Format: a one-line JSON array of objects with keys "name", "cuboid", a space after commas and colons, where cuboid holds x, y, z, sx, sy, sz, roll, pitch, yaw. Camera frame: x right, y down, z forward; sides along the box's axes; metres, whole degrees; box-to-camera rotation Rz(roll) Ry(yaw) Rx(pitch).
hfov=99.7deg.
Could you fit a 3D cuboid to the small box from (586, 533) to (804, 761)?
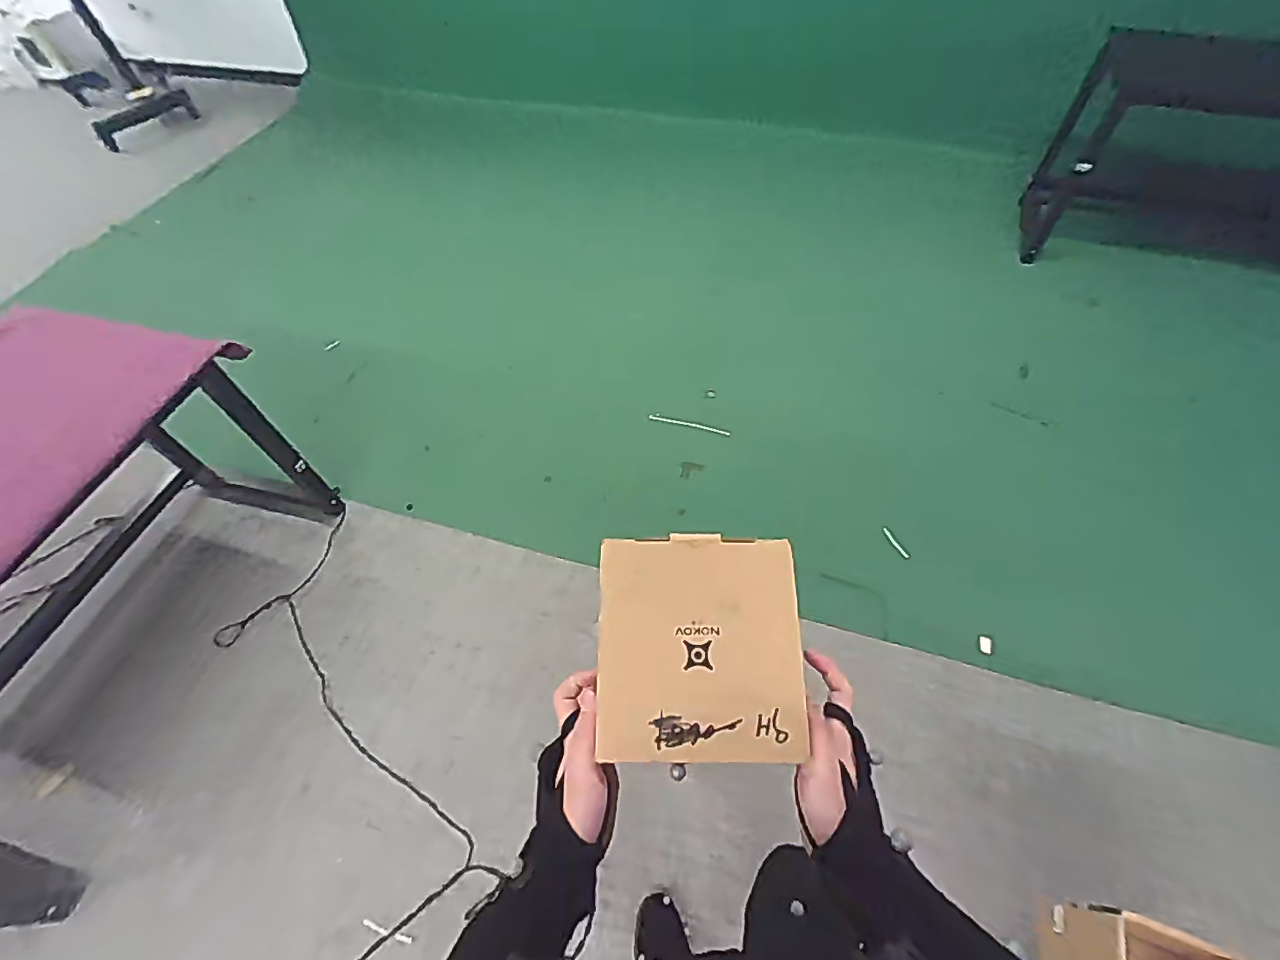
[{"name": "small box", "cuboid": [0.041, 0.156, 0.505, 0.168, 0.176, 0.179, 0, 69, 1]}]
